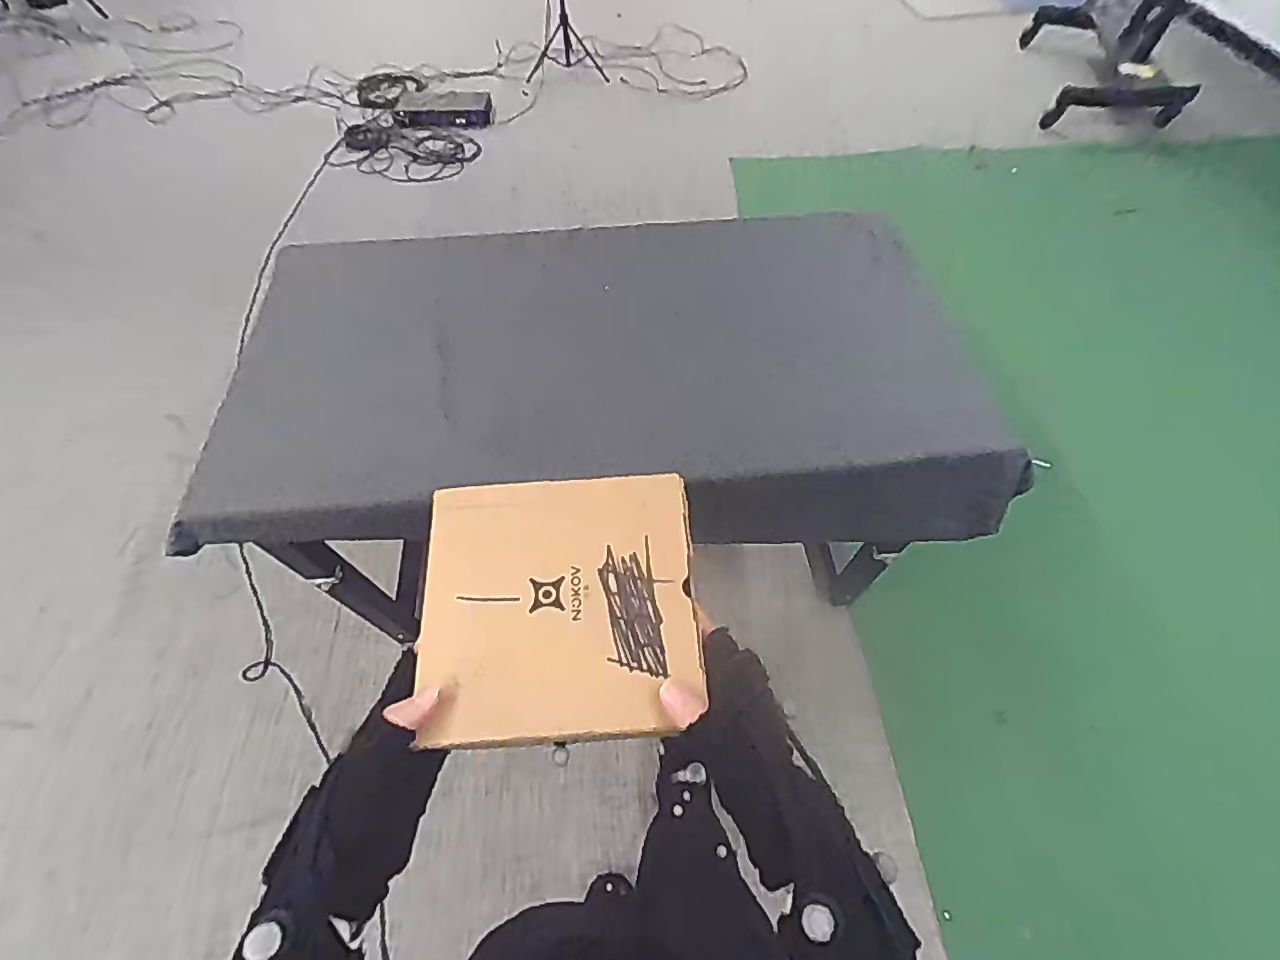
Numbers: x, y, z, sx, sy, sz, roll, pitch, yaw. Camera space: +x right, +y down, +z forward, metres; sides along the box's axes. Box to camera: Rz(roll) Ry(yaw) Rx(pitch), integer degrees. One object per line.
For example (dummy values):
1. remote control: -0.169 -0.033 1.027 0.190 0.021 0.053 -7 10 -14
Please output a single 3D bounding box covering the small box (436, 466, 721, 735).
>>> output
1. small box: -0.049 0.103 0.432 0.179 0.176 0.168 -6 65 -6
